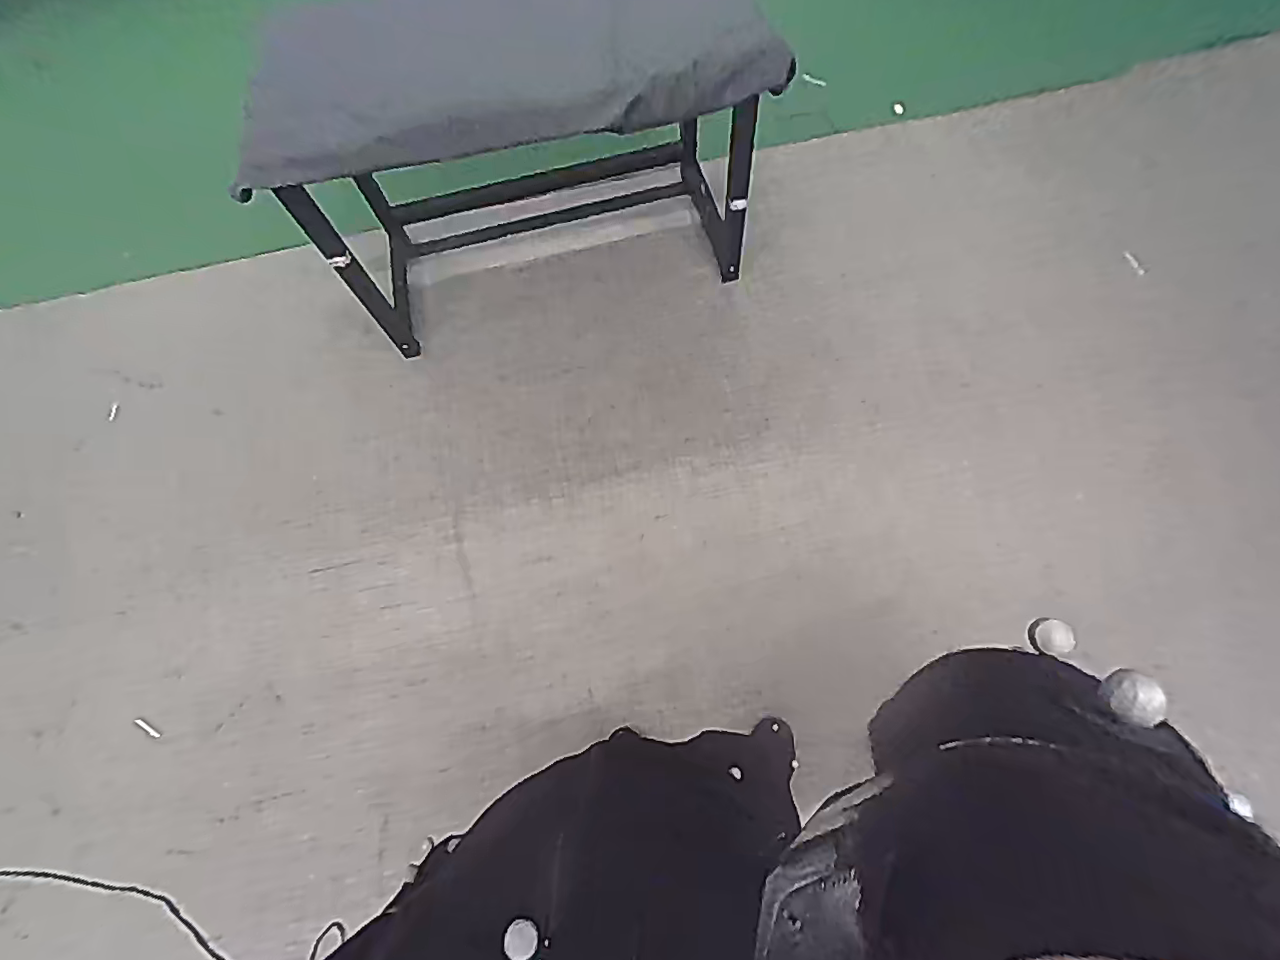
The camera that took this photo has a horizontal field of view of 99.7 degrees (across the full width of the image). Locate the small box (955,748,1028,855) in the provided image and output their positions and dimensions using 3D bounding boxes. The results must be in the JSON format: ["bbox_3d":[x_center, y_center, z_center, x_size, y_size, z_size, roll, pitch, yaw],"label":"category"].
[{"bbox_3d":[0.755,0.618,1.052,0.179,0.176,0.168,-1,65,4],"label":"small box"}]

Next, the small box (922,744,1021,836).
[{"bbox_3d":[0.764,0.683,1.204,0.179,0.176,0.168,-2,65,4],"label":"small box"}]
